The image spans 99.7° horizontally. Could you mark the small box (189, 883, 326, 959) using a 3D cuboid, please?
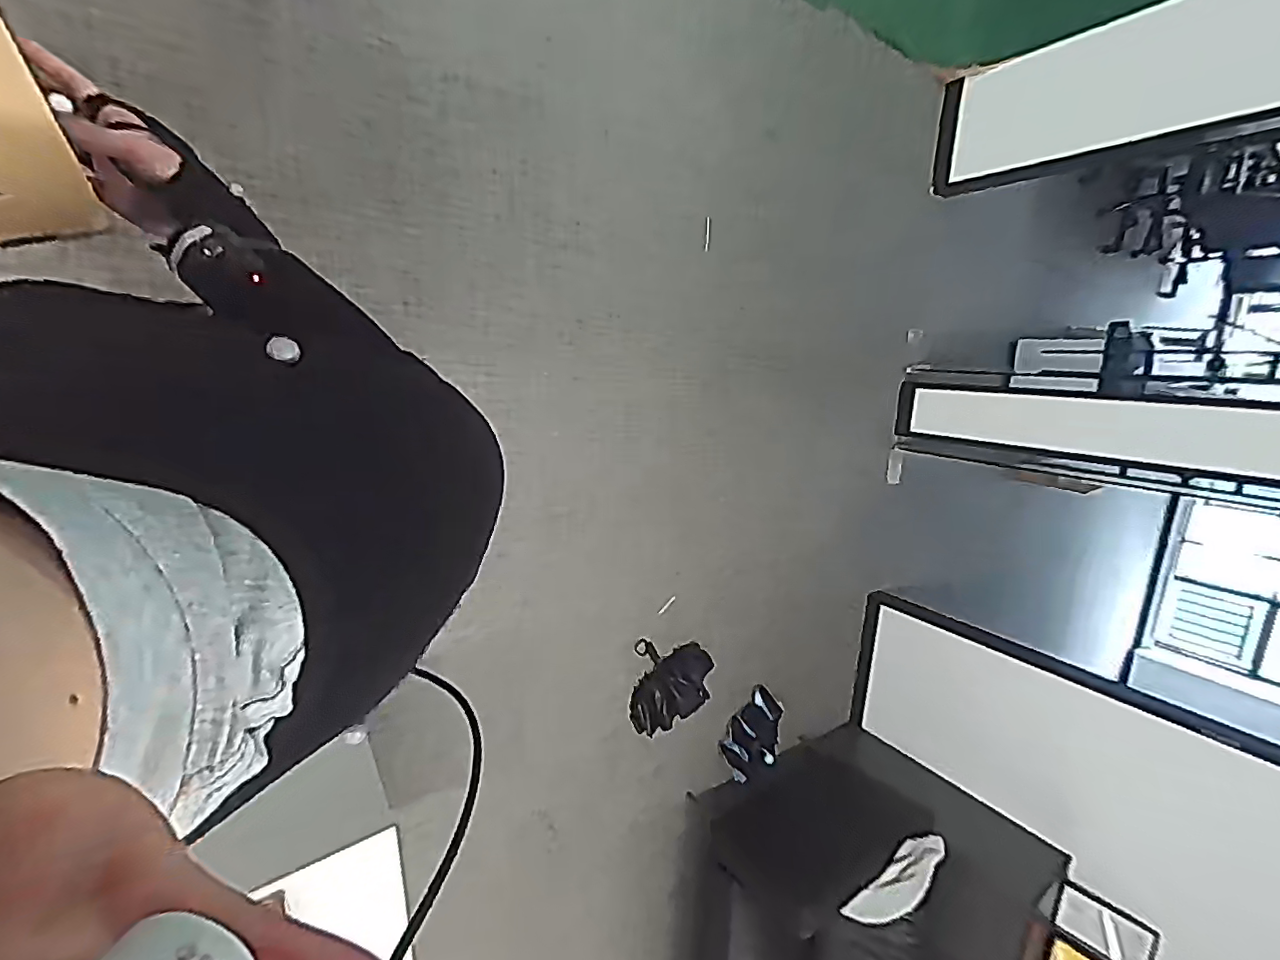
[{"bbox_3d":[-0.613,0.822,0.879,0.168,0.176,0.179,-14,111,-34],"label":"small box"}]

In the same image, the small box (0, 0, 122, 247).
[{"bbox_3d":[-0.478,-0.248,0.336,0.168,0.176,0.179,-31,135,-33],"label":"small box"}]
